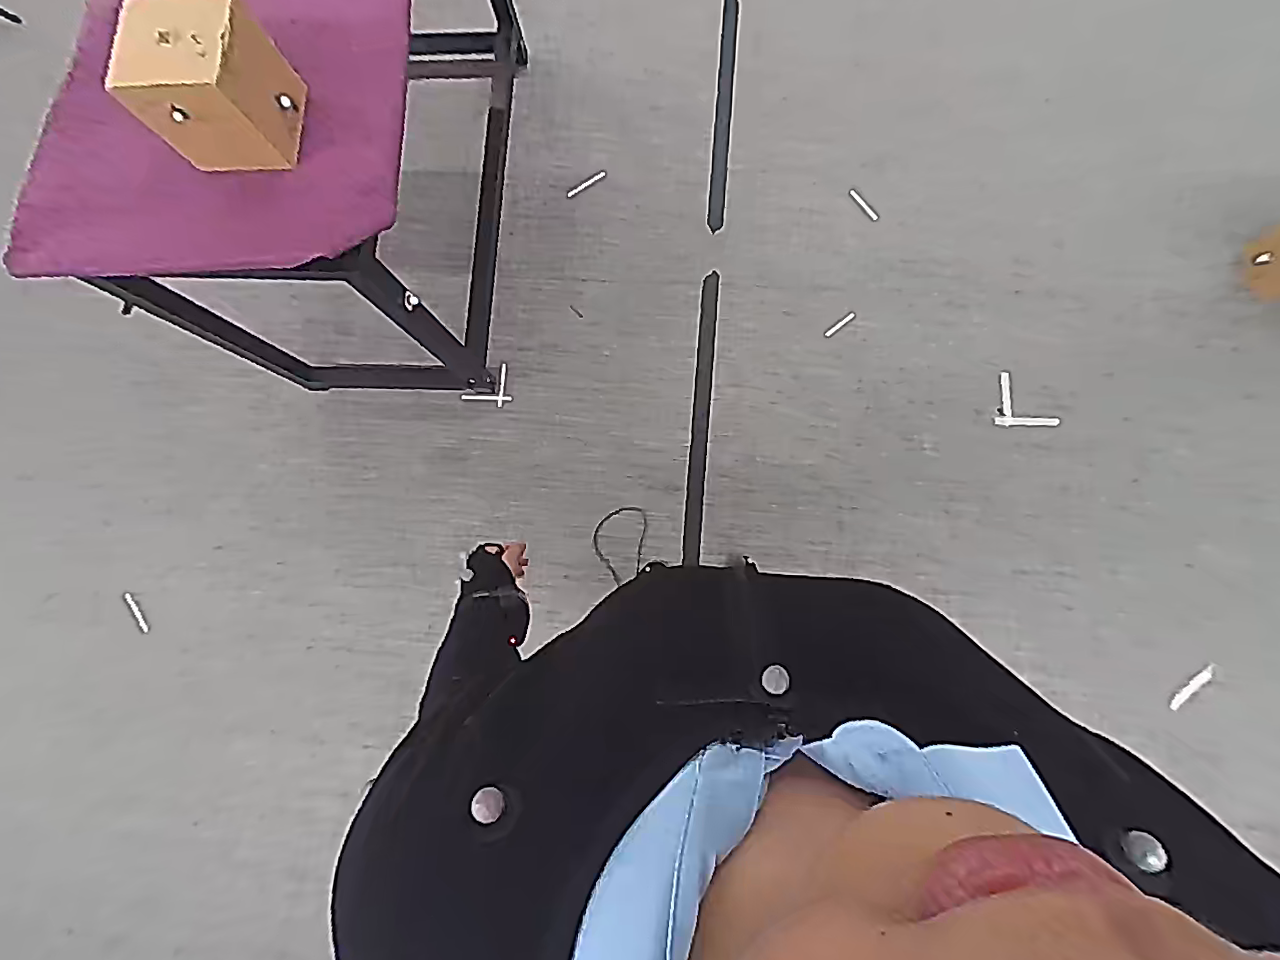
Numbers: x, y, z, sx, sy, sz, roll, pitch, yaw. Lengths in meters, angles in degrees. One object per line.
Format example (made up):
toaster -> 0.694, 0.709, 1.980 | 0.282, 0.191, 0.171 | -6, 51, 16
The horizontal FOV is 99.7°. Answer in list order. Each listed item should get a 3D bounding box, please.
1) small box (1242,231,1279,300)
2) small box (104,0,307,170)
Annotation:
small box -> 1.824, -0.606, 1.469 | 0.179, 0.176, 0.168 | -2, 81, 3
small box -> -0.678, -0.626, 0.864 | 0.179, 0.176, 0.168 | 1, 80, 3
